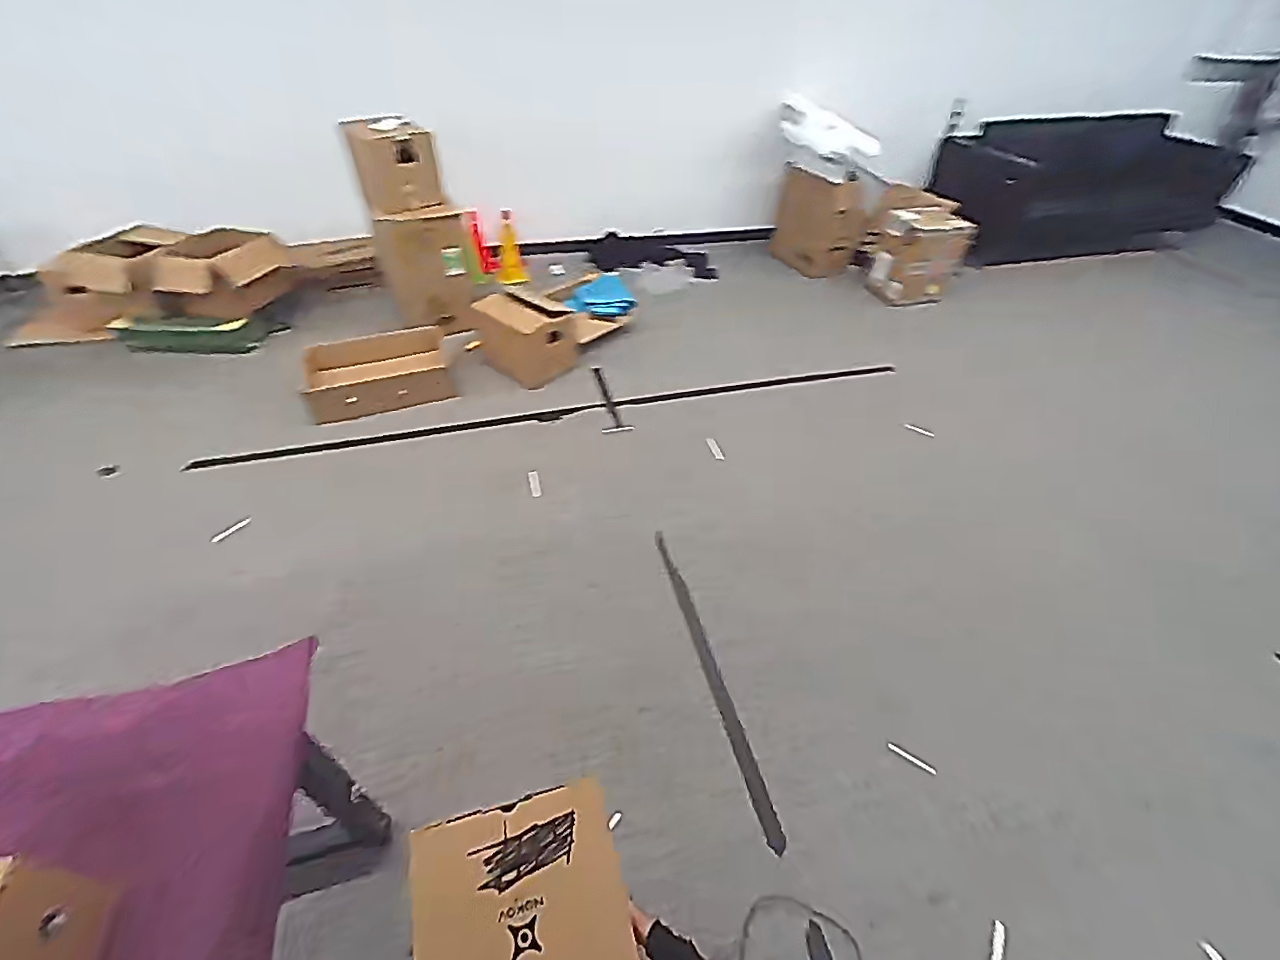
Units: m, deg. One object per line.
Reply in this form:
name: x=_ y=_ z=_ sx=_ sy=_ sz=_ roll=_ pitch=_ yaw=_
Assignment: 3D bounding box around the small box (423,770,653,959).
small box: x=-0.093 y=0.391 z=0.481 sx=0.168 sy=0.176 sz=0.179 roll=-8 pitch=53 yaw=-17
